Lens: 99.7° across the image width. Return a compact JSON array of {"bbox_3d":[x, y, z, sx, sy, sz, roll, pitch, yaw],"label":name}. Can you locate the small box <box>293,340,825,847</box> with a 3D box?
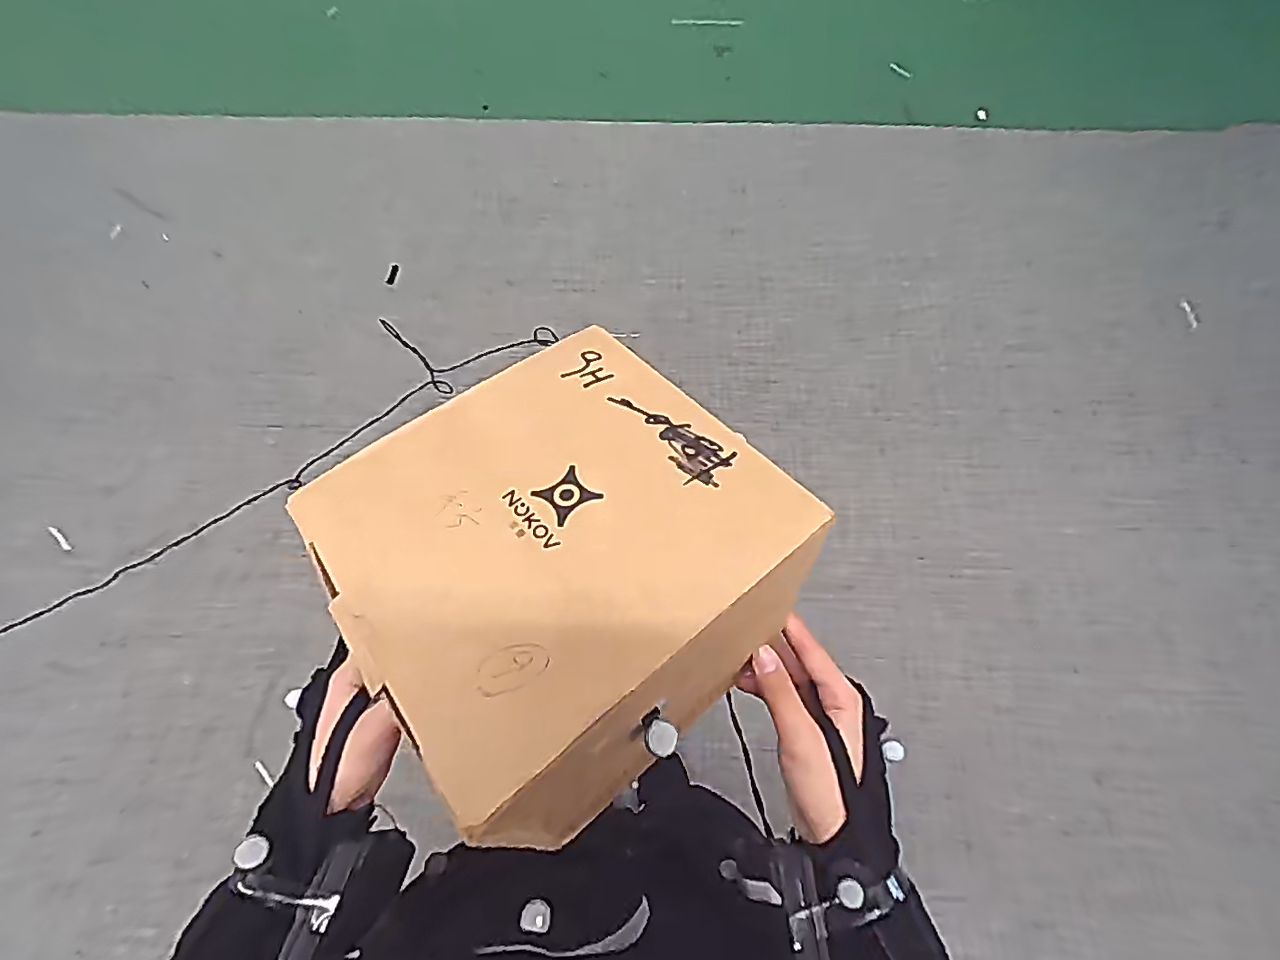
[{"bbox_3d":[-0.033,0.065,0.294,0.179,0.176,0.168,-35,60,-20],"label":"small box"}]
